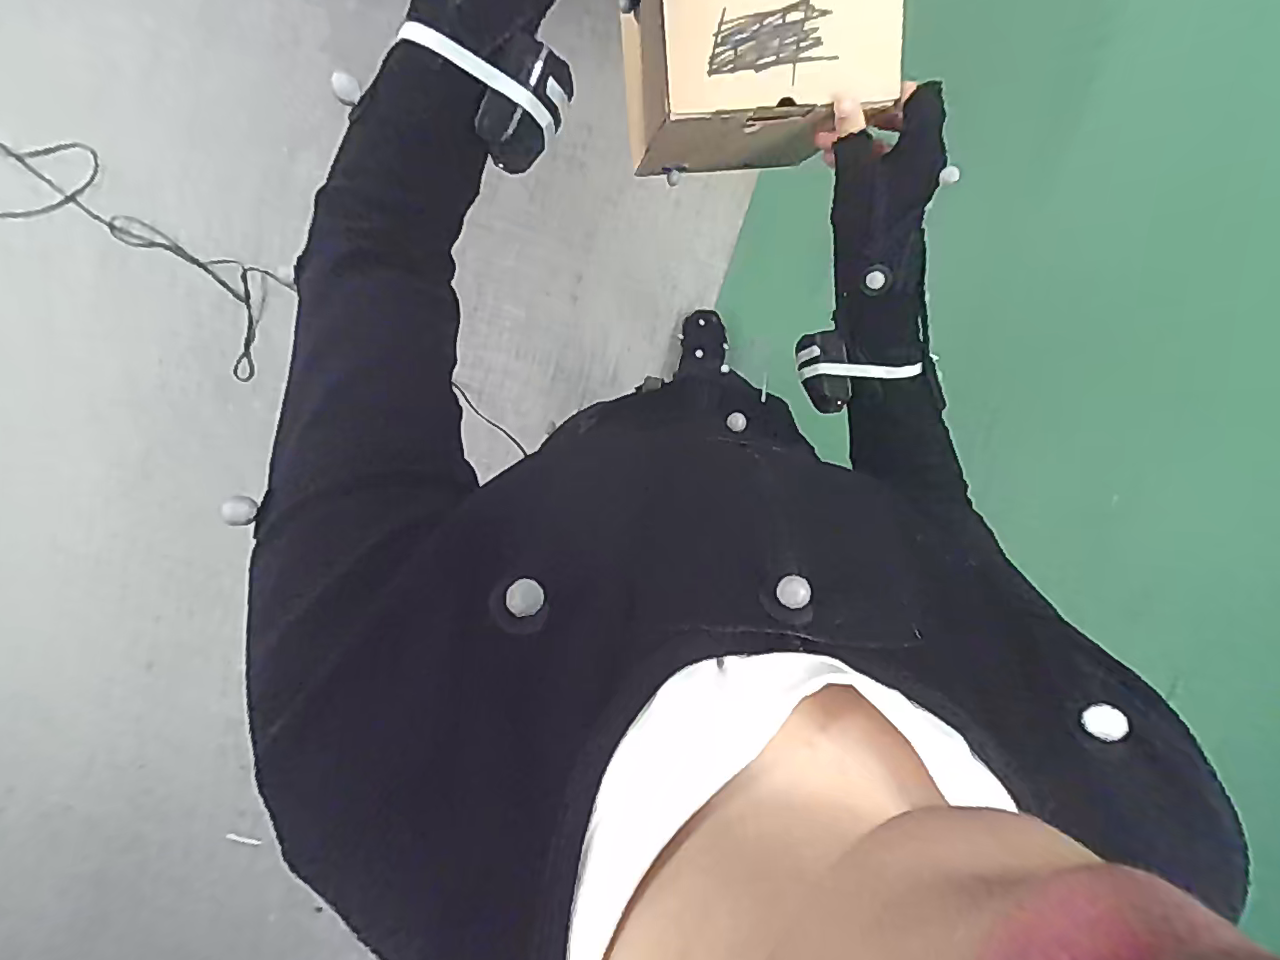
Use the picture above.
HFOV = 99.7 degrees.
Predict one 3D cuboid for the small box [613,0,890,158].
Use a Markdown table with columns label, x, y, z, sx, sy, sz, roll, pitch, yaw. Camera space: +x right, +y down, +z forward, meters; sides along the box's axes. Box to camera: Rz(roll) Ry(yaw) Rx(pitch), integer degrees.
| label | x | y | z | sx | sy | sz | roll | pitch | yaw |
| --- | --- | --- | --- | --- | --- | --- | --- | --- | --- |
| small box | 0.071 | -0.365 | 0.416 | 0.168 | 0.176 | 0.179 | -8 | 107 | -6 |
